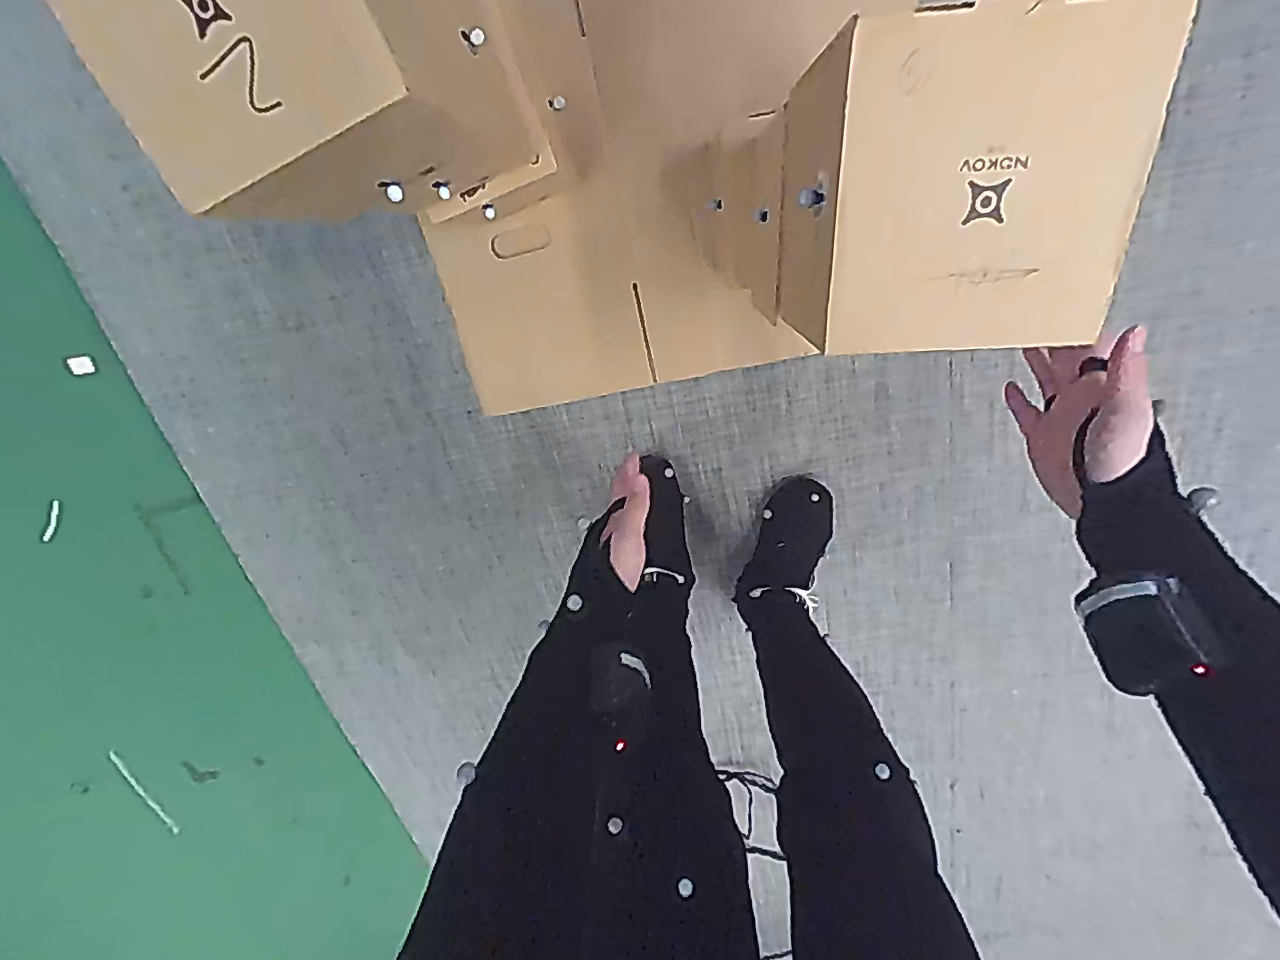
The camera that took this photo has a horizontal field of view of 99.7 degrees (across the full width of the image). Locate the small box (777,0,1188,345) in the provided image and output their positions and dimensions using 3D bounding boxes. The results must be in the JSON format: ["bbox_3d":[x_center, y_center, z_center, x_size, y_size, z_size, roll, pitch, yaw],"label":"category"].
[{"bbox_3d":[0.192,-0.196,0.370,0.168,0.176,0.179,-1,114,5],"label":"small box"}]

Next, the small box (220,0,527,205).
[{"bbox_3d":[-0.225,-0.375,0.504,0.168,0.176,0.179,-17,111,11],"label":"small box"}]

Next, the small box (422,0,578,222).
[{"bbox_3d":[-0.190,-0.433,0.656,0.168,0.176,0.179,-17,112,12],"label":"small box"}]

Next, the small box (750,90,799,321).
[{"bbox_3d":[0.200,-0.258,0.521,0.168,0.176,0.179,-2,113,4],"label":"small box"}]
